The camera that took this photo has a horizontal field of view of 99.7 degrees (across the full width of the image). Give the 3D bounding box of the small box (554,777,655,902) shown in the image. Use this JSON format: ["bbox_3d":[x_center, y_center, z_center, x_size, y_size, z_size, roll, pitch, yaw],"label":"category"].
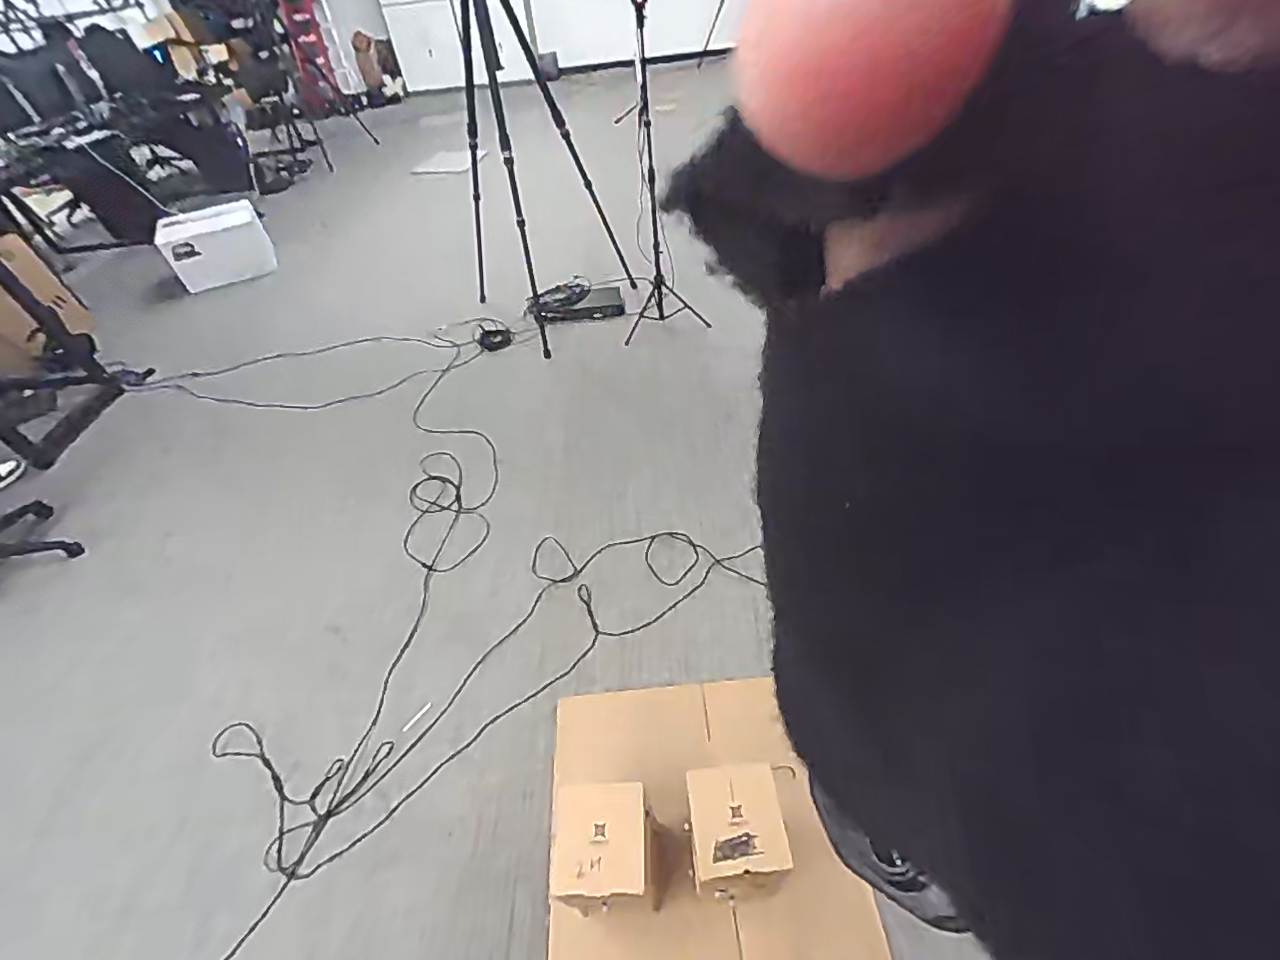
[{"bbox_3d":[-0.062,0.695,1.044,0.168,0.176,0.179,-5,47,4],"label":"small box"}]

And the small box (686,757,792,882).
[{"bbox_3d":[0.185,0.662,1.047,0.168,0.176,0.179,-7,47,0],"label":"small box"}]

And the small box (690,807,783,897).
[{"bbox_3d":[0.198,0.776,1.166,0.168,0.176,0.179,-7,47,0],"label":"small box"}]
